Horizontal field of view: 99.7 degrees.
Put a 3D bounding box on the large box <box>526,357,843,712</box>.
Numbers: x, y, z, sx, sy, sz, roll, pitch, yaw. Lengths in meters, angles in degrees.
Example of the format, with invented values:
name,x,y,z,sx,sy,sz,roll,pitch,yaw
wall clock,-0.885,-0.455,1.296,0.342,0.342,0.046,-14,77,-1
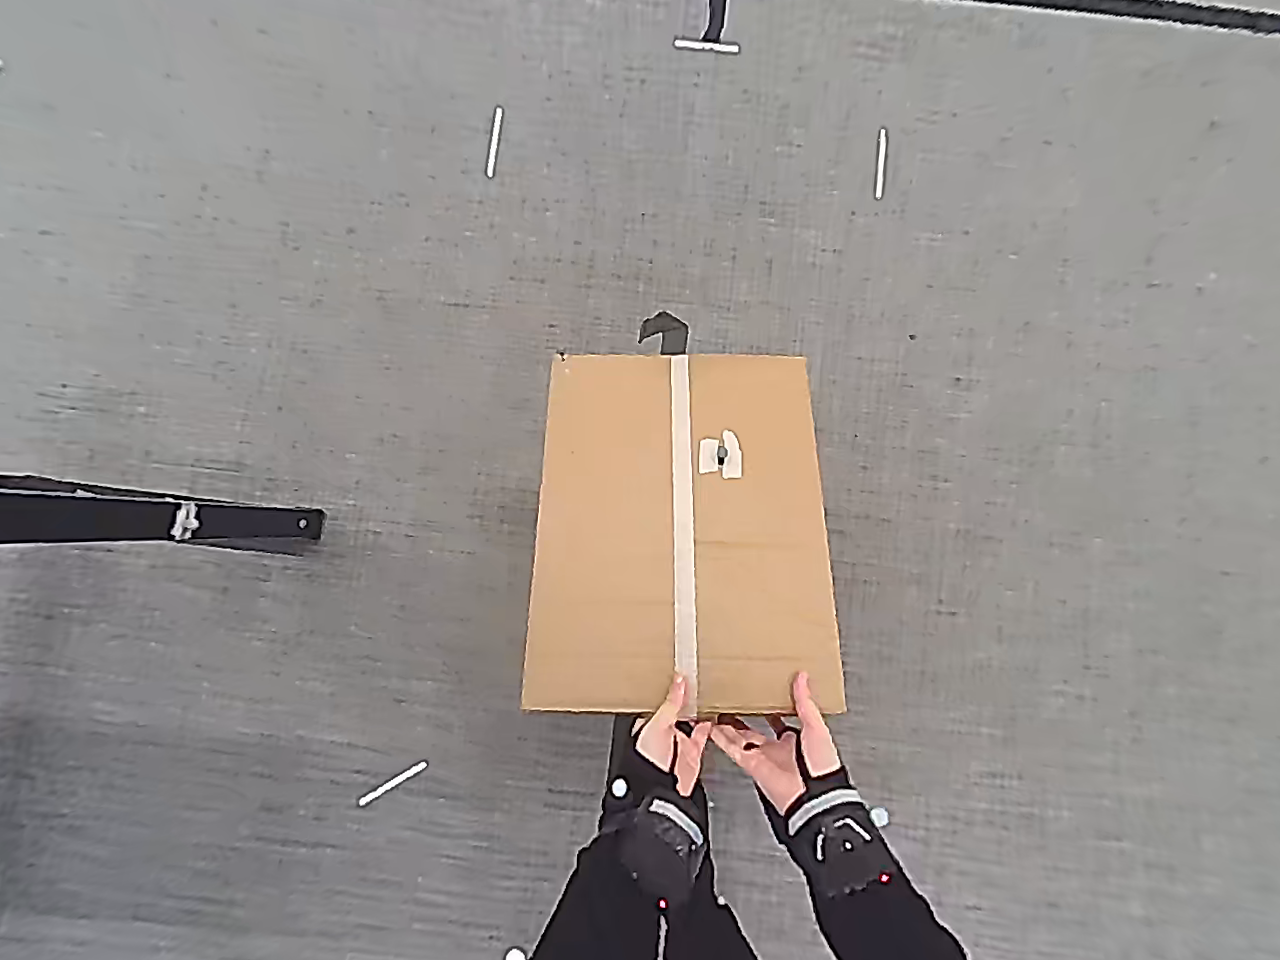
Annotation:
name,x,y,z,sx,sy,sz,roll,pitch,yaw
large box,0.043,0.093,0.729,0.320,0.320,0.408,1,67,-1
